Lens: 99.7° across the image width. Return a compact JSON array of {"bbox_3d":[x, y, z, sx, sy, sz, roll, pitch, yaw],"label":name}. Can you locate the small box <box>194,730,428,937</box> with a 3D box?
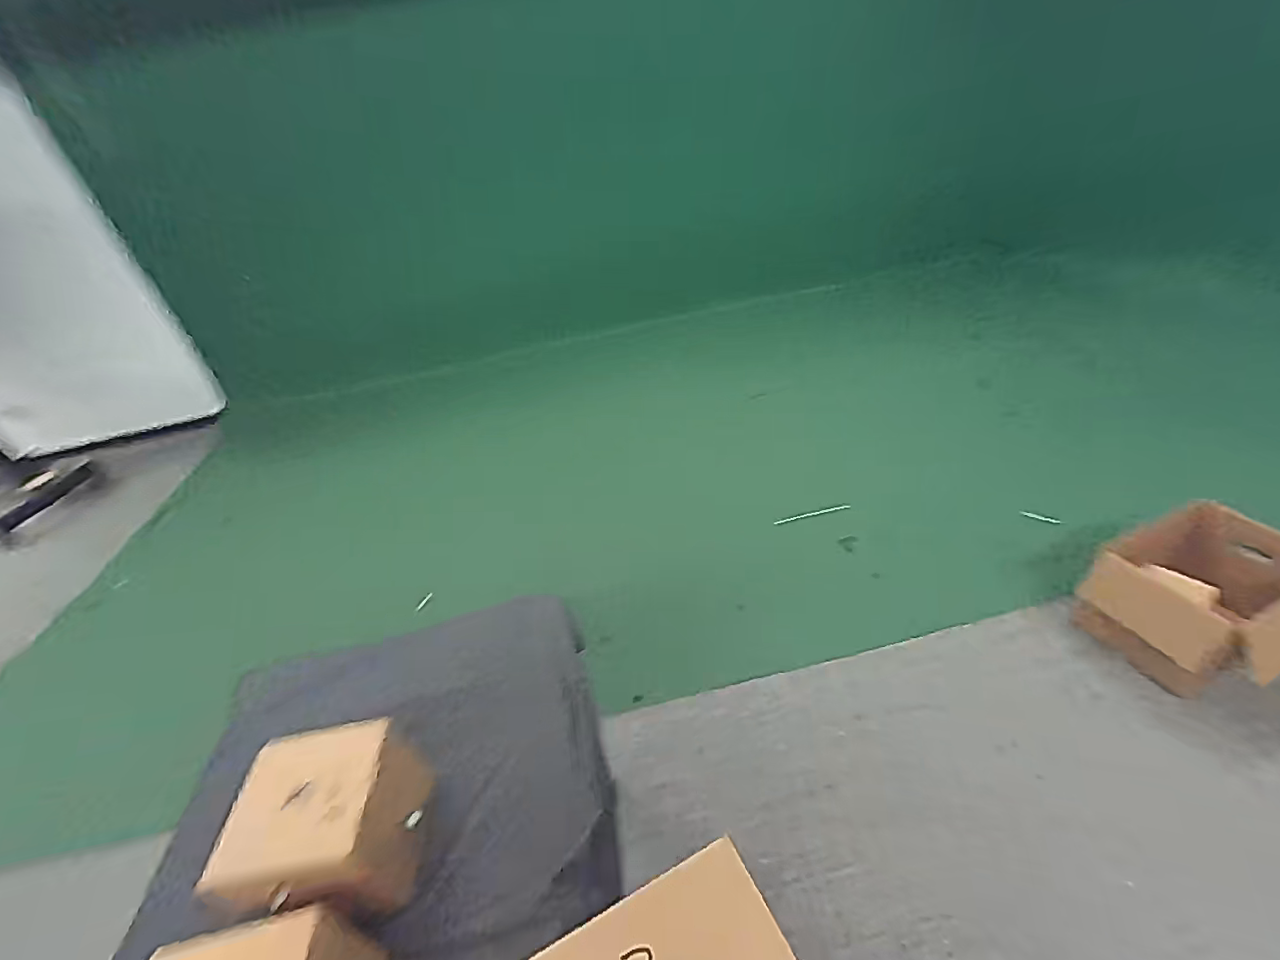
[{"bbox_3d":[-0.409,0.464,0.711,0.179,0.176,0.168,-11,36,0],"label":"small box"}]
